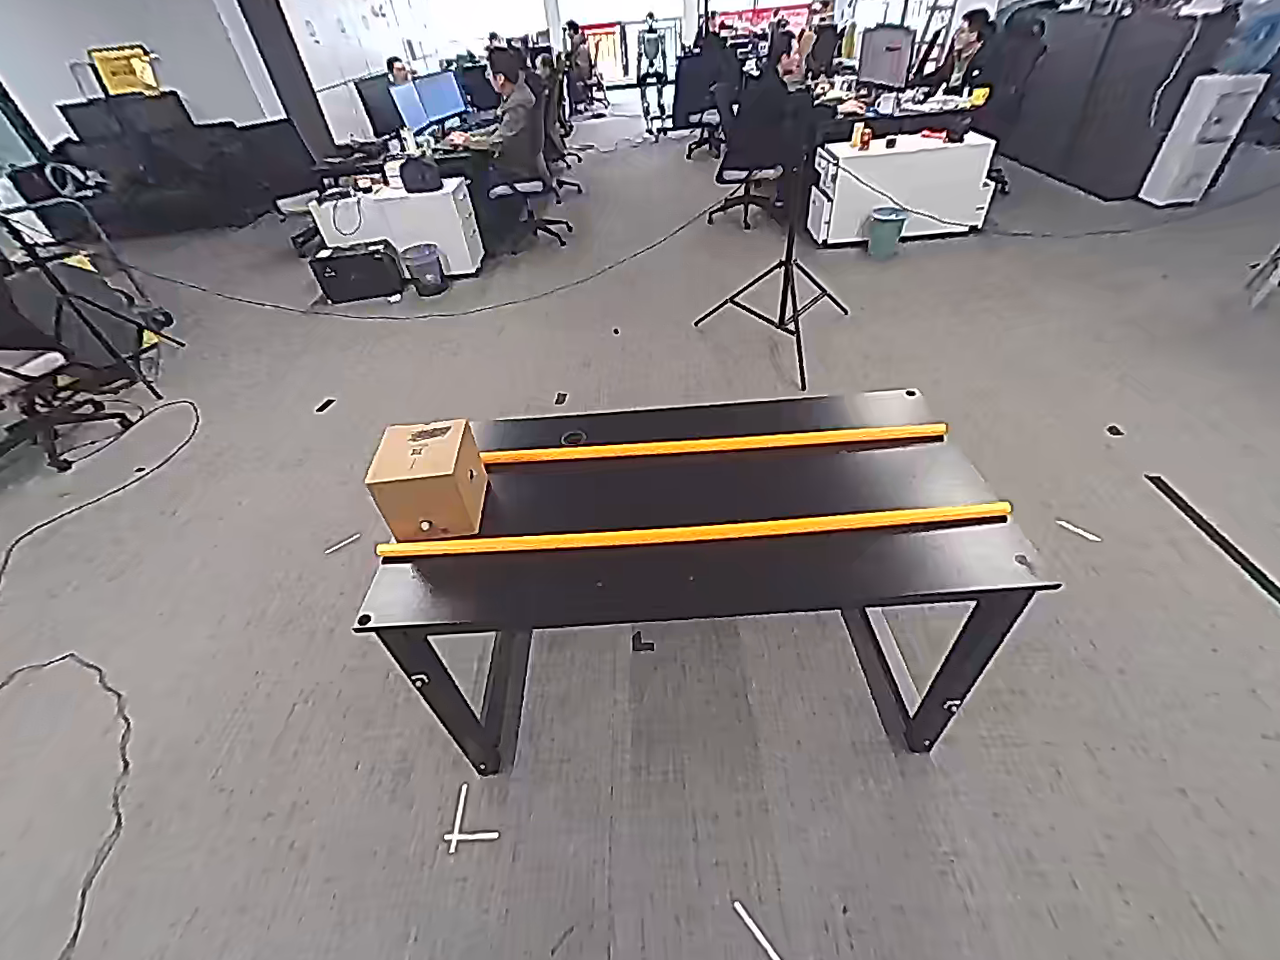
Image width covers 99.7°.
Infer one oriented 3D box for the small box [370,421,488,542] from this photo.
[{"bbox_3d":[-0.418,0.003,1.107,0.168,0.176,0.179,-7,43,-1],"label":"small box"}]
